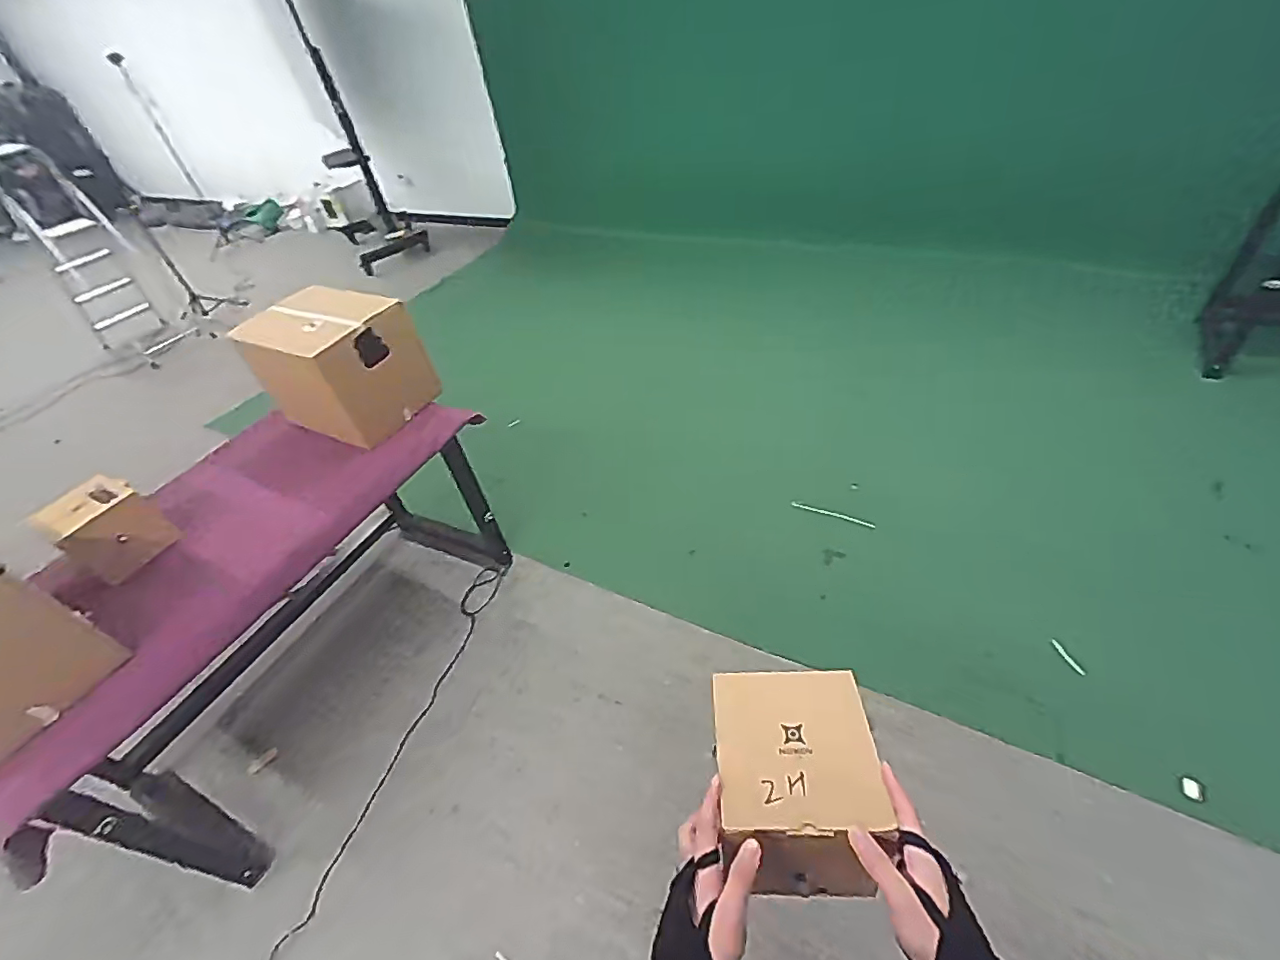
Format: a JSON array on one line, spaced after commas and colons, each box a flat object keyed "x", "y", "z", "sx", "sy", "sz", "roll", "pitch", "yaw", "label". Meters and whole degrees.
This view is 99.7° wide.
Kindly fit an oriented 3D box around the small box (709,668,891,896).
[{"x": 0.165, "y": 0.340, "z": 0.620, "sx": 0.168, "sy": 0.176, "sz": 0.179, "roll": -4, "pitch": 36, "yaw": 7, "label": "small box"}]

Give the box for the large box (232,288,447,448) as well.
[{"x": -0.866, "y": -0.337, "z": 1.599, "sx": 0.408, "sy": 0.320, "sz": 0.320, "roll": 17, "pitch": 51, "yaw": 24, "label": "large box"}]
